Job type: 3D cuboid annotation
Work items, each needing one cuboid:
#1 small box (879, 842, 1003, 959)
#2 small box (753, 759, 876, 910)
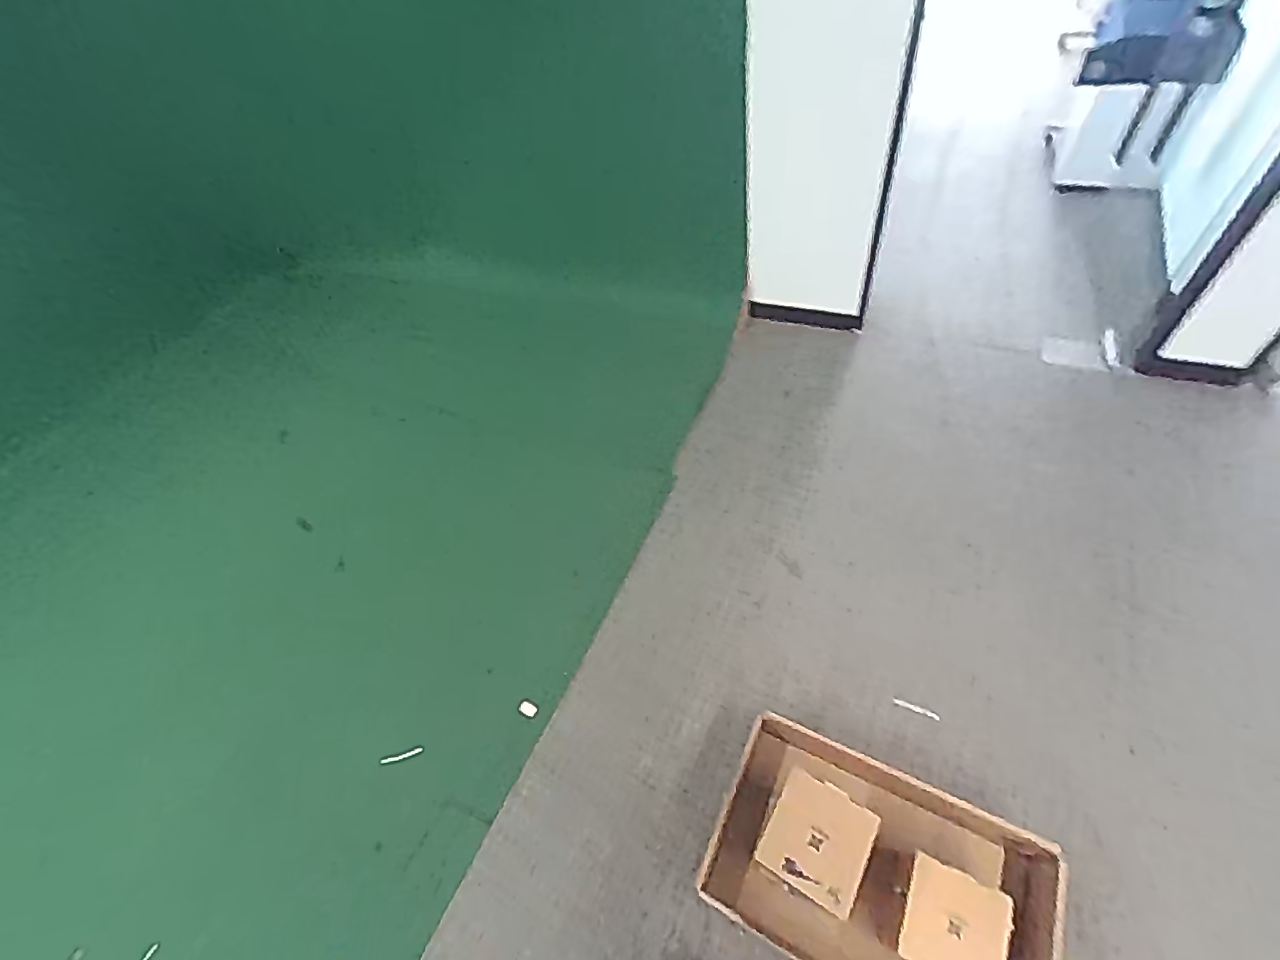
[{"bbox_3d":[0.583,0.852,1.065,0.168,0.176,0.179,18,59,23],"label":"small box"},{"bbox_3d":[0.325,0.675,1.036,0.168,0.176,0.179,24,61,24],"label":"small box"}]
